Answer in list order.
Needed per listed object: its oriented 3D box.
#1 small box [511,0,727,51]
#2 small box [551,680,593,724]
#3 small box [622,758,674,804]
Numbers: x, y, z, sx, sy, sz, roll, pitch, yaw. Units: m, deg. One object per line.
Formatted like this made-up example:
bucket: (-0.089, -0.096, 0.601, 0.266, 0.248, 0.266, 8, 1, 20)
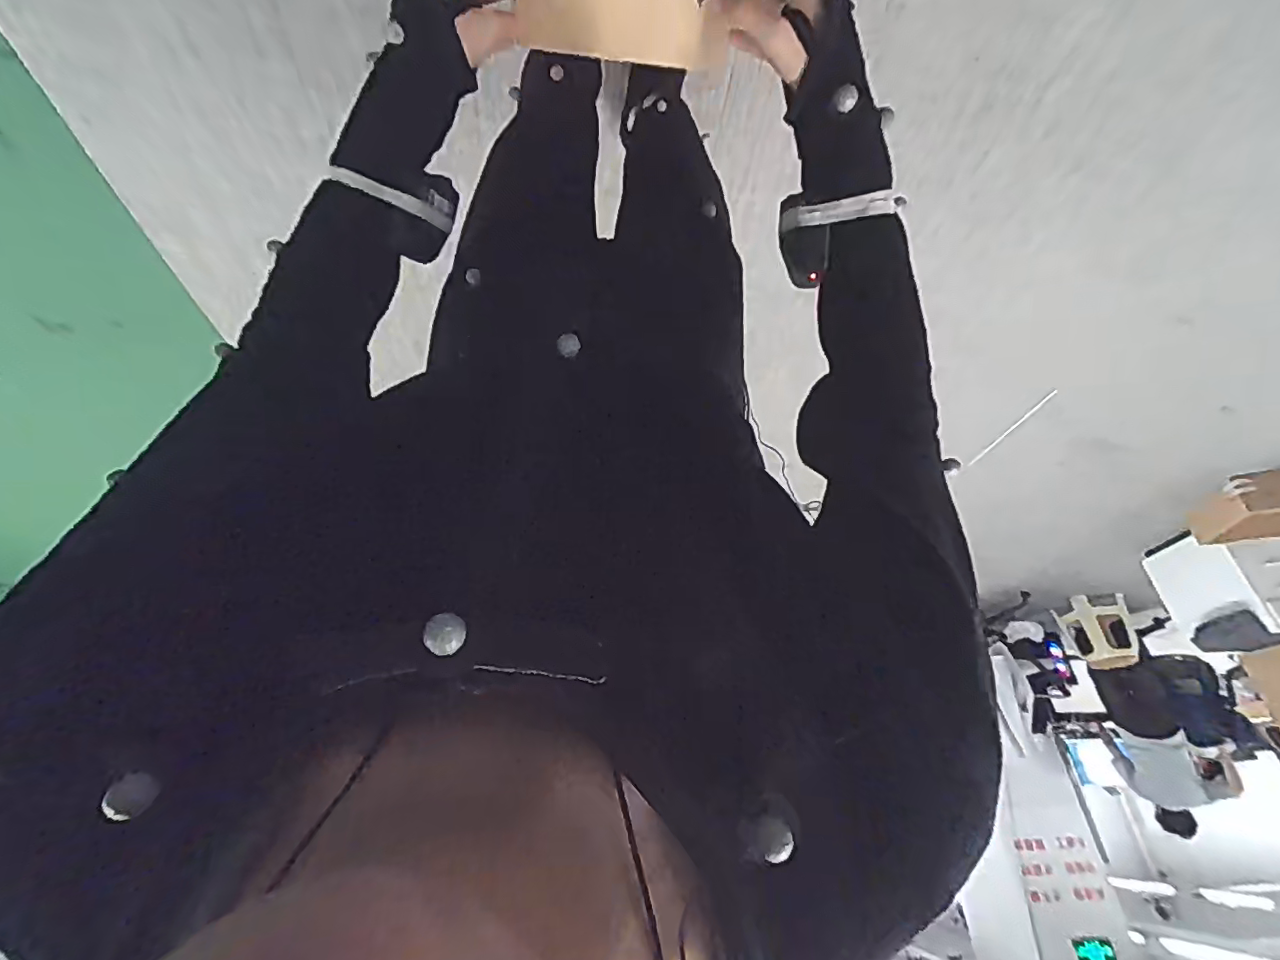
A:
small box: (-0.008, -0.485, 0.429, 0.179, 0.176, 0.168, 4, 150, -6)
small box: (-0.315, 1.025, 2.495, 0.179, 0.176, 0.168, 3, 149, -9)
small box: (0.031, 1.339, 2.398, 0.179, 0.176, 0.168, 13, 147, -23)
